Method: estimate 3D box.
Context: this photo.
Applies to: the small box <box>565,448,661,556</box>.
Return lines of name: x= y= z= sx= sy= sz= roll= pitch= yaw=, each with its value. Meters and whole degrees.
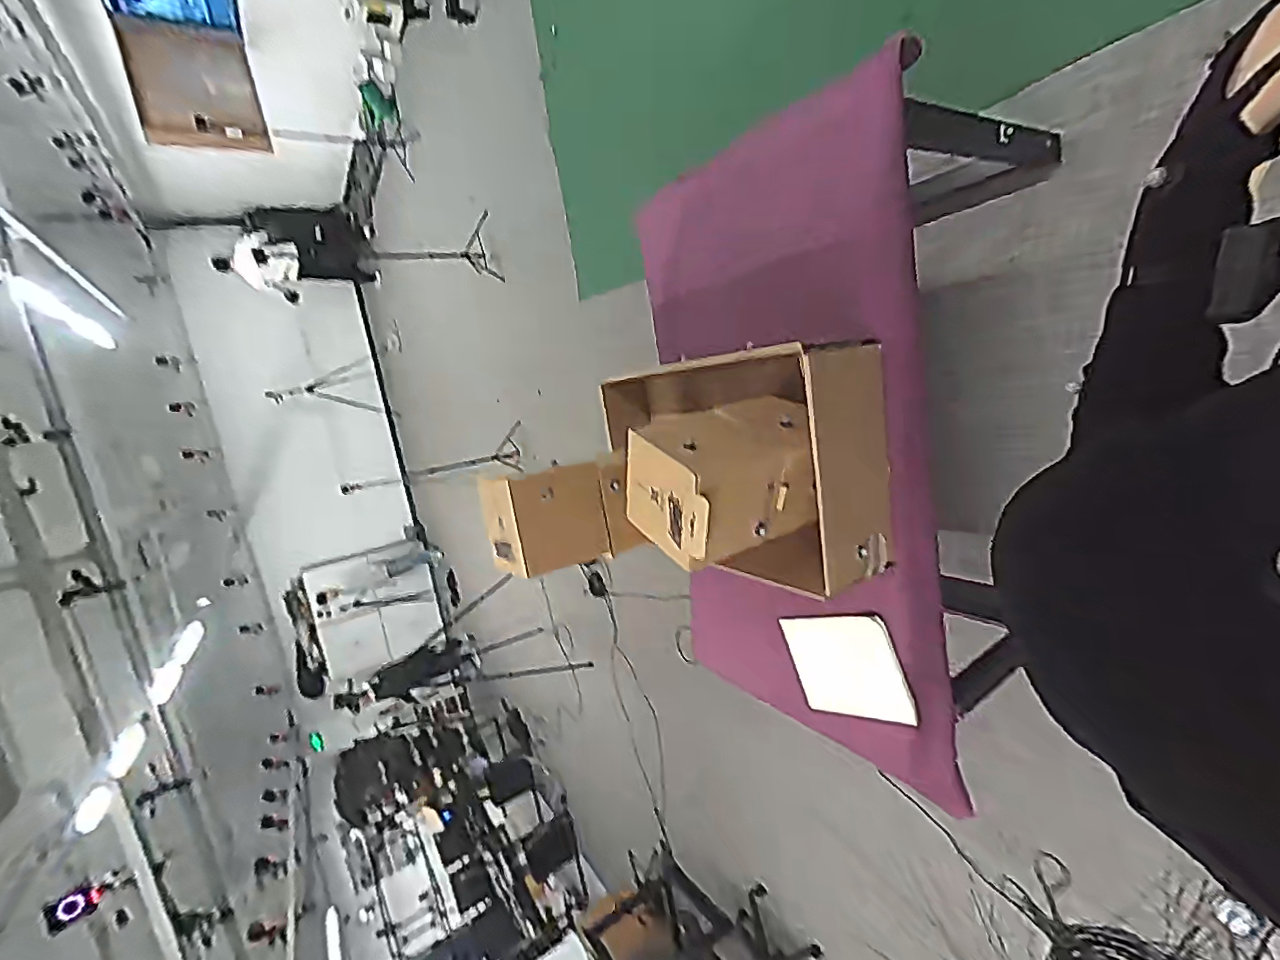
small box: x=-0.028 y=0.037 z=1.099 sx=0.168 sy=0.176 sz=0.179 roll=3 pitch=105 yaw=57

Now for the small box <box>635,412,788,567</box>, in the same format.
small box: x=0.108 y=0.003 z=0.853 sx=0.179 sy=0.176 sz=0.168 roll=38 pitch=135 yaw=47
